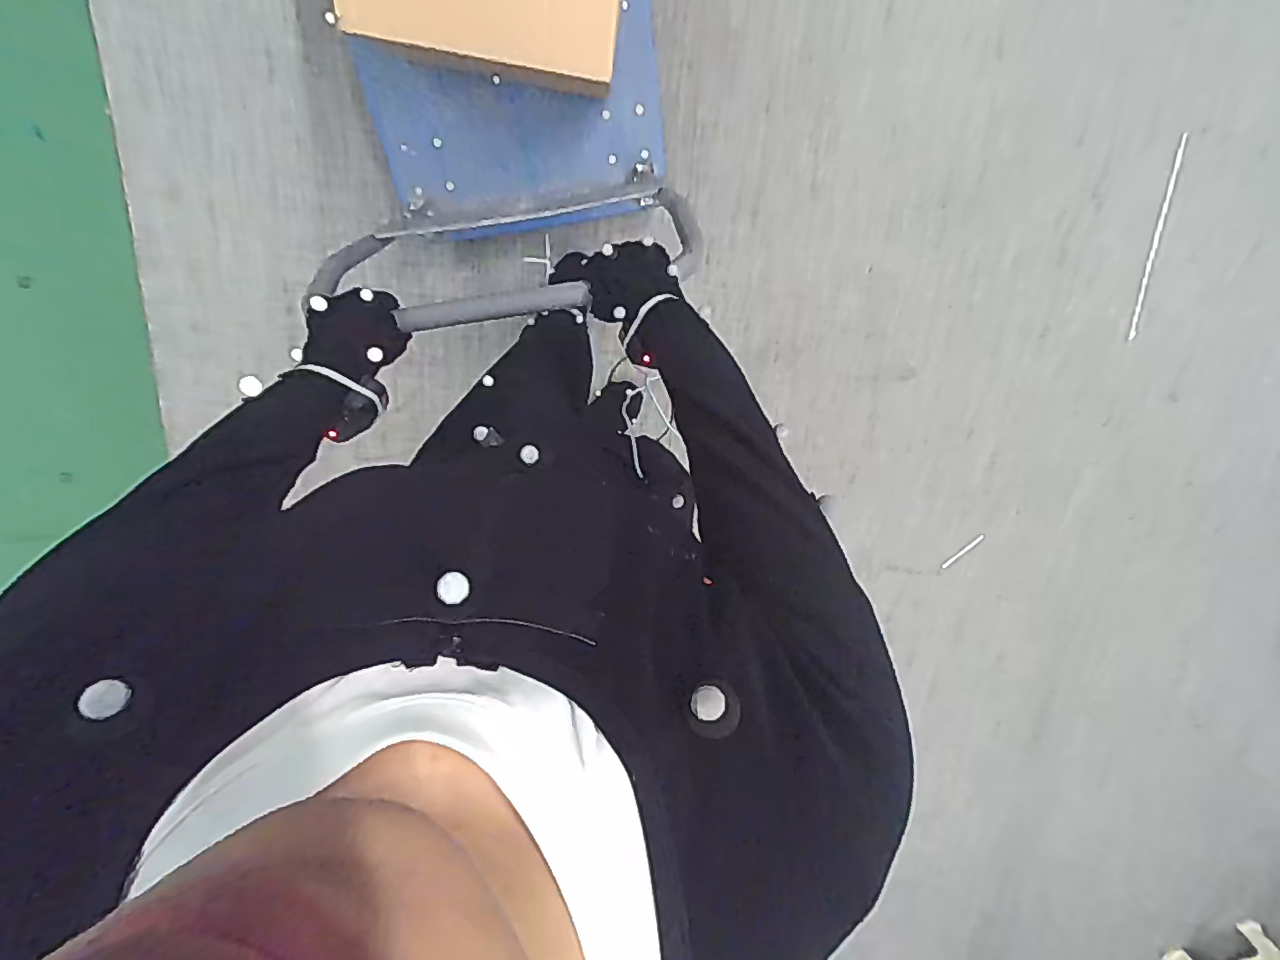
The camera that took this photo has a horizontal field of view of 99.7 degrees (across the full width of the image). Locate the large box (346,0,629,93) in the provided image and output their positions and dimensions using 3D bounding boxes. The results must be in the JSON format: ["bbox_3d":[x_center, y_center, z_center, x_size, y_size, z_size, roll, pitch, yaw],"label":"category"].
[{"bbox_3d":[-0.215,-0.841,0.865,0.408,0.320,0.320,6,121,-6],"label":"large box"}]
